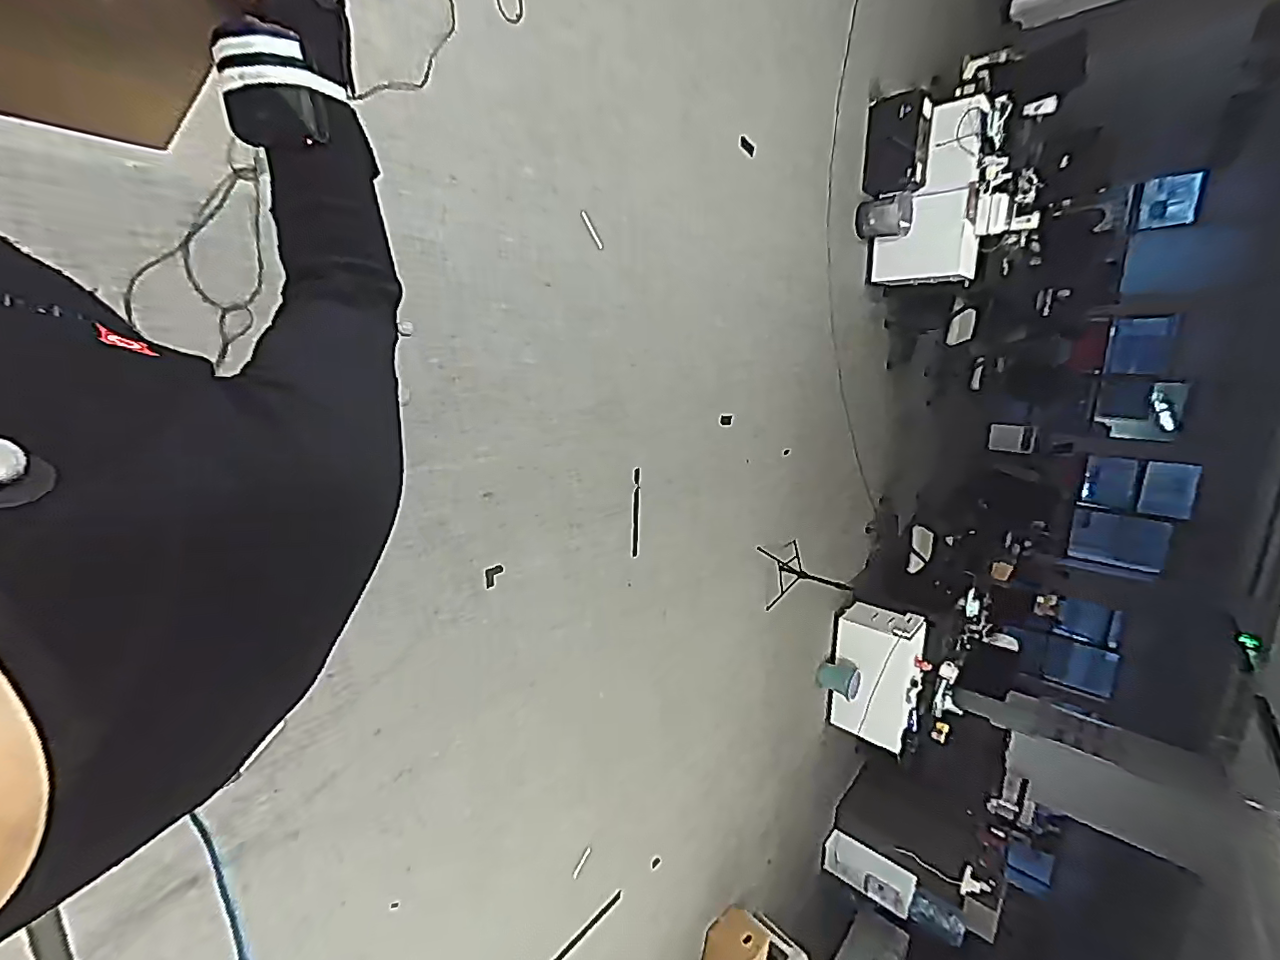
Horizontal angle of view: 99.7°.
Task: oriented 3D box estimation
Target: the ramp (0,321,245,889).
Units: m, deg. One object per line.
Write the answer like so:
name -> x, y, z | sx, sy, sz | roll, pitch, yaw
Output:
ramp -> -1.125, 0.214, 0.990 | 0.509, 0.206, 0.991 | -16, 111, -44

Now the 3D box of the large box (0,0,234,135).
large box -> -0.496, -0.440, 0.266 | 0.408, 0.320, 0.320 | -14, 105, -48
